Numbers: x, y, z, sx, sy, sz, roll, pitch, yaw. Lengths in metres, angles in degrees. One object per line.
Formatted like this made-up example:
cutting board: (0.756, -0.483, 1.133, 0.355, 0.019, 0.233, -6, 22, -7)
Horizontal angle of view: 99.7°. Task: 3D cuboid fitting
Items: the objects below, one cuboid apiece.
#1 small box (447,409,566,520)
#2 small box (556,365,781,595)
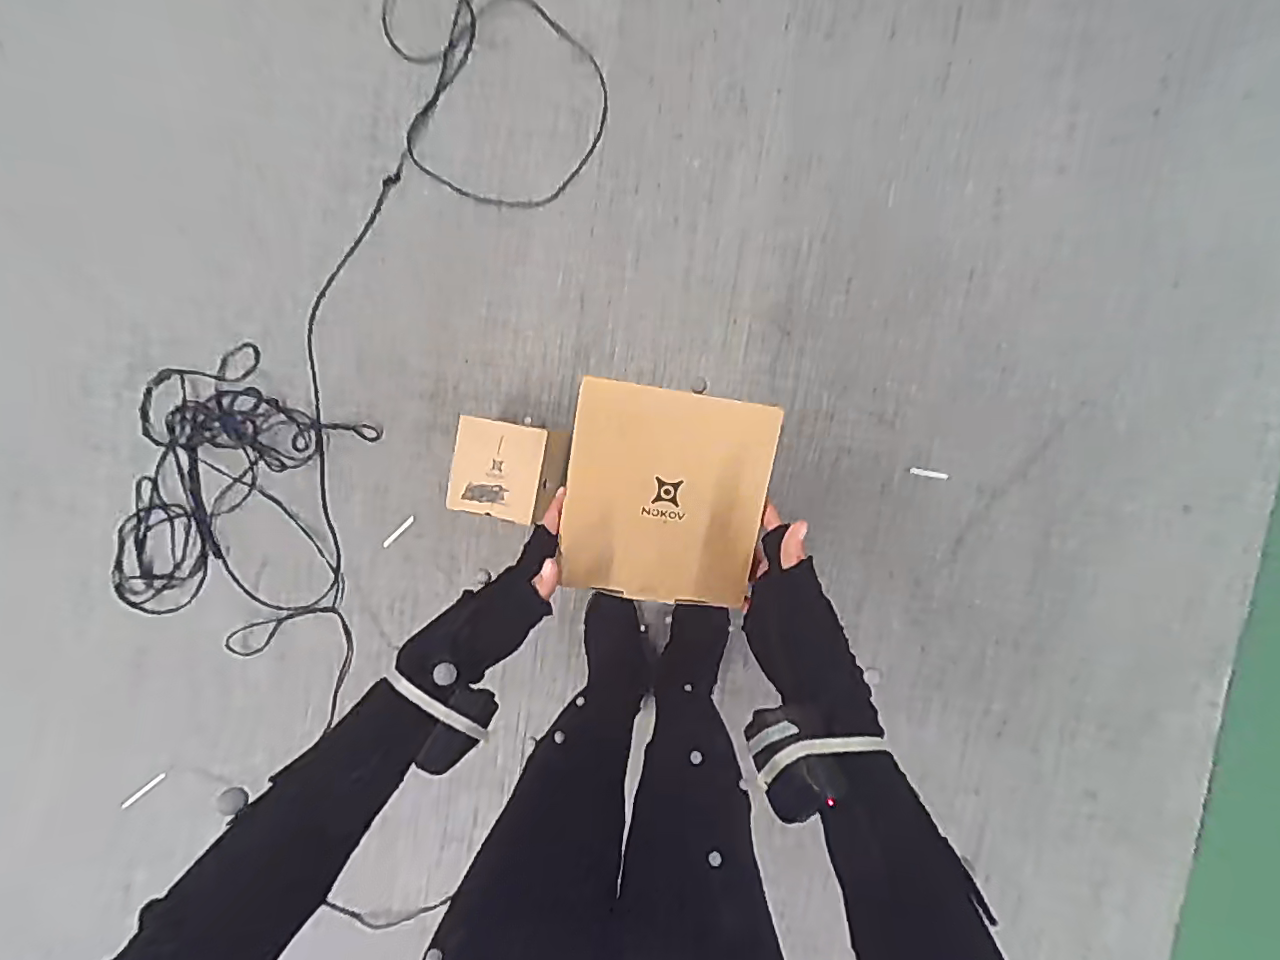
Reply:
small box: (-0.251, -0.033, 1.056, 0.168, 0.176, 0.179, 11, 94, 4)
small box: (0.014, -0.011, 0.523, 0.168, 0.176, 0.179, 8, 102, -7)
